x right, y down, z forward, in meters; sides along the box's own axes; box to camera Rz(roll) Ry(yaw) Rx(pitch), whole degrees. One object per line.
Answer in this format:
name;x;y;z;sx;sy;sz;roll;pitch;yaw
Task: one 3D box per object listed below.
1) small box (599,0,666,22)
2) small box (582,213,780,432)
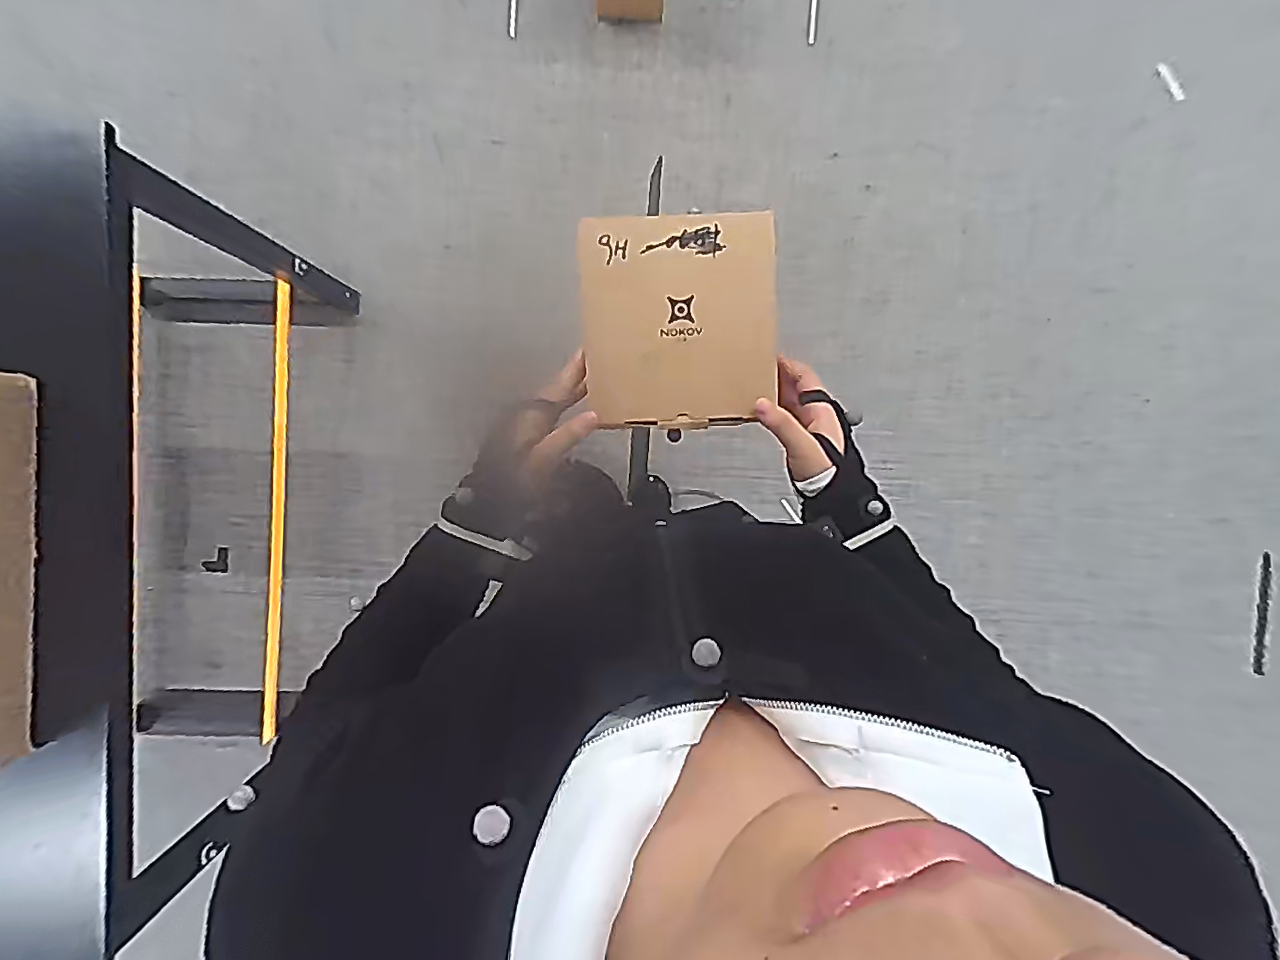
small box;-0.018;-1.293;1.351;0.179;0.176;0.168;-1;93;-2
small box;0.036;-0.139;0.532;0.168;0.176;0.179;-2;95;-1
